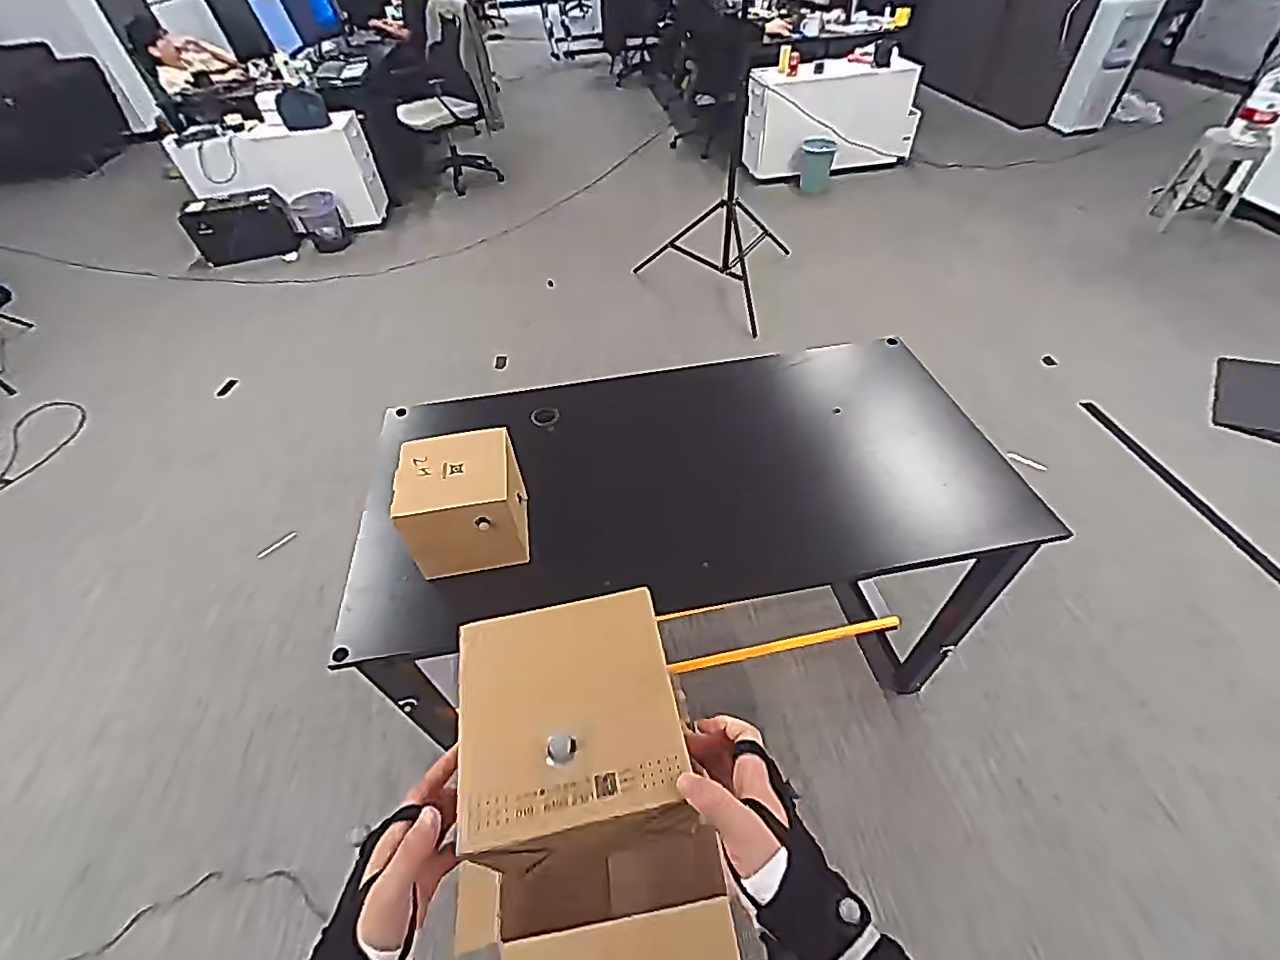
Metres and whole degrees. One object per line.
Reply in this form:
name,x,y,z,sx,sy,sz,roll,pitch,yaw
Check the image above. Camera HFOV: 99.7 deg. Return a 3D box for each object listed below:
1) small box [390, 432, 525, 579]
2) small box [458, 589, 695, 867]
small box,-0.292,0.044,0.909,0.179,0.176,0.168,-9,47,-5
small box,-0.053,0.225,0.479,0.168,0.179,0.176,-13,54,-5
